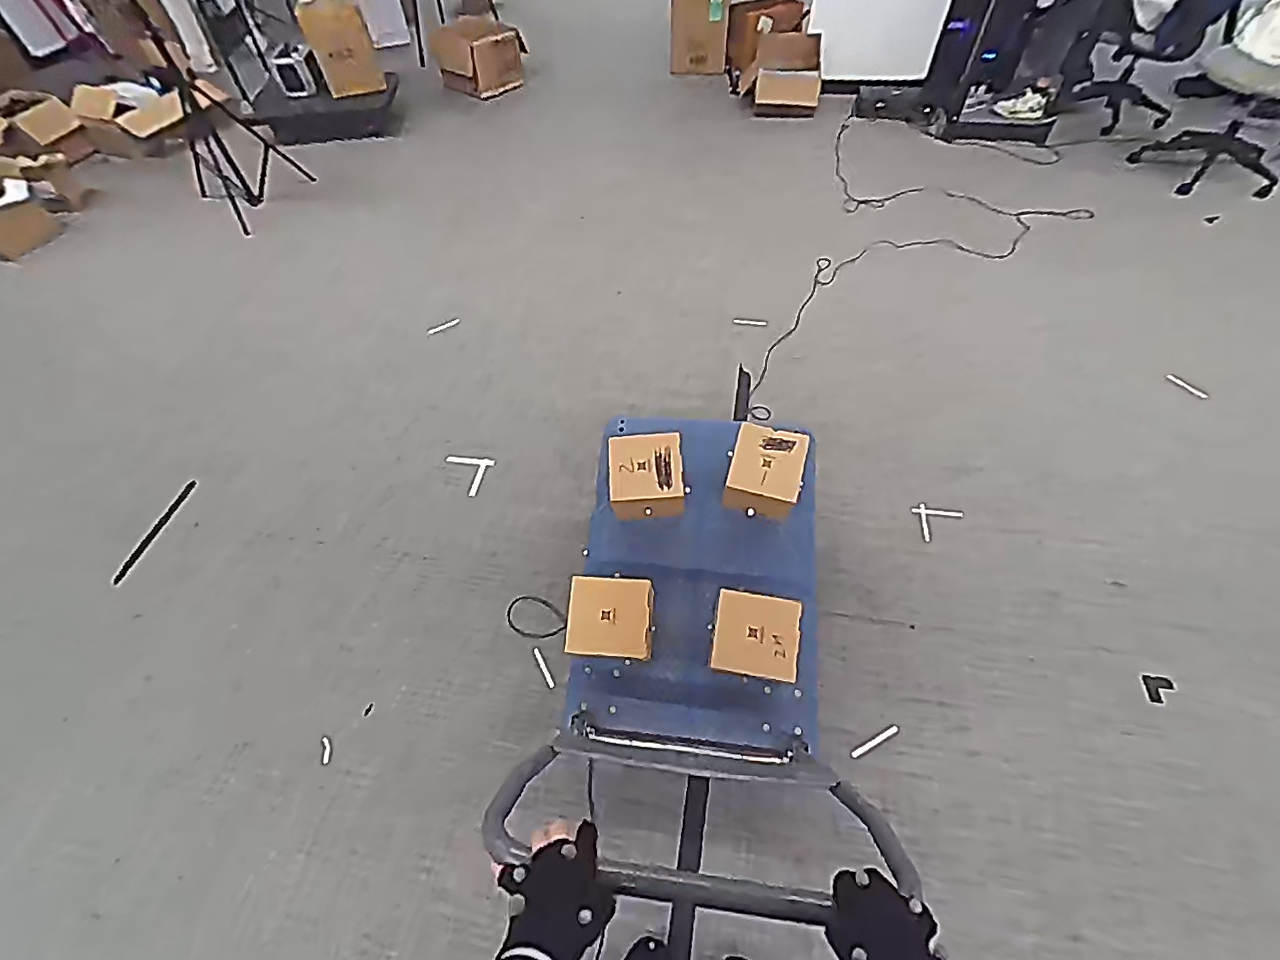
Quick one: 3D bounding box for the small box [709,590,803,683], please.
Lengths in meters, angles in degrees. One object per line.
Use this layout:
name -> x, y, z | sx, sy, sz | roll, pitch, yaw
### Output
small box -> 0.251, 0.353, 1.202 | 0.179, 0.176, 0.168 | 9, 71, 8

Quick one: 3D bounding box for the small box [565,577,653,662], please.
small box -> -0.063, 0.323, 1.238 | 0.179, 0.176, 0.168 | 2, 69, 3

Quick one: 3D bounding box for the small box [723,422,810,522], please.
small box -> 0.306, -0.015, 1.338 | 0.168, 0.176, 0.179 | 14, 72, 10
